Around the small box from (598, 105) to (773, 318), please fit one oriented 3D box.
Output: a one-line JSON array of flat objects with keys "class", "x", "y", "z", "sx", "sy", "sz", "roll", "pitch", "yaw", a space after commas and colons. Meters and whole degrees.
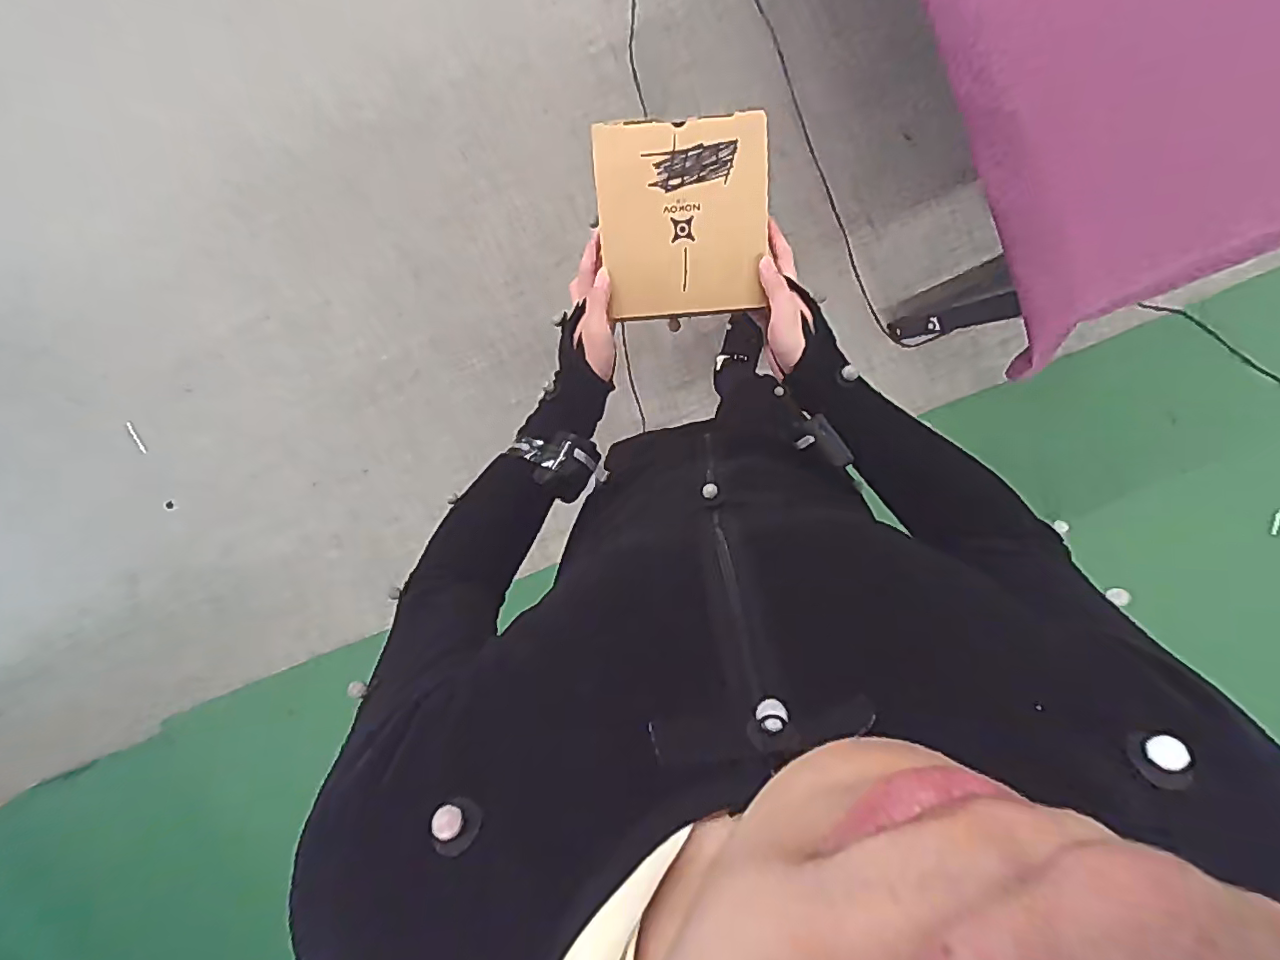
[{"class": "small box", "x": 0.046, "y": -0.276, "z": 0.595, "sx": 0.168, "sy": 0.176, "sz": 0.179, "roll": -4, "pitch": 106, "yaw": 1}]
